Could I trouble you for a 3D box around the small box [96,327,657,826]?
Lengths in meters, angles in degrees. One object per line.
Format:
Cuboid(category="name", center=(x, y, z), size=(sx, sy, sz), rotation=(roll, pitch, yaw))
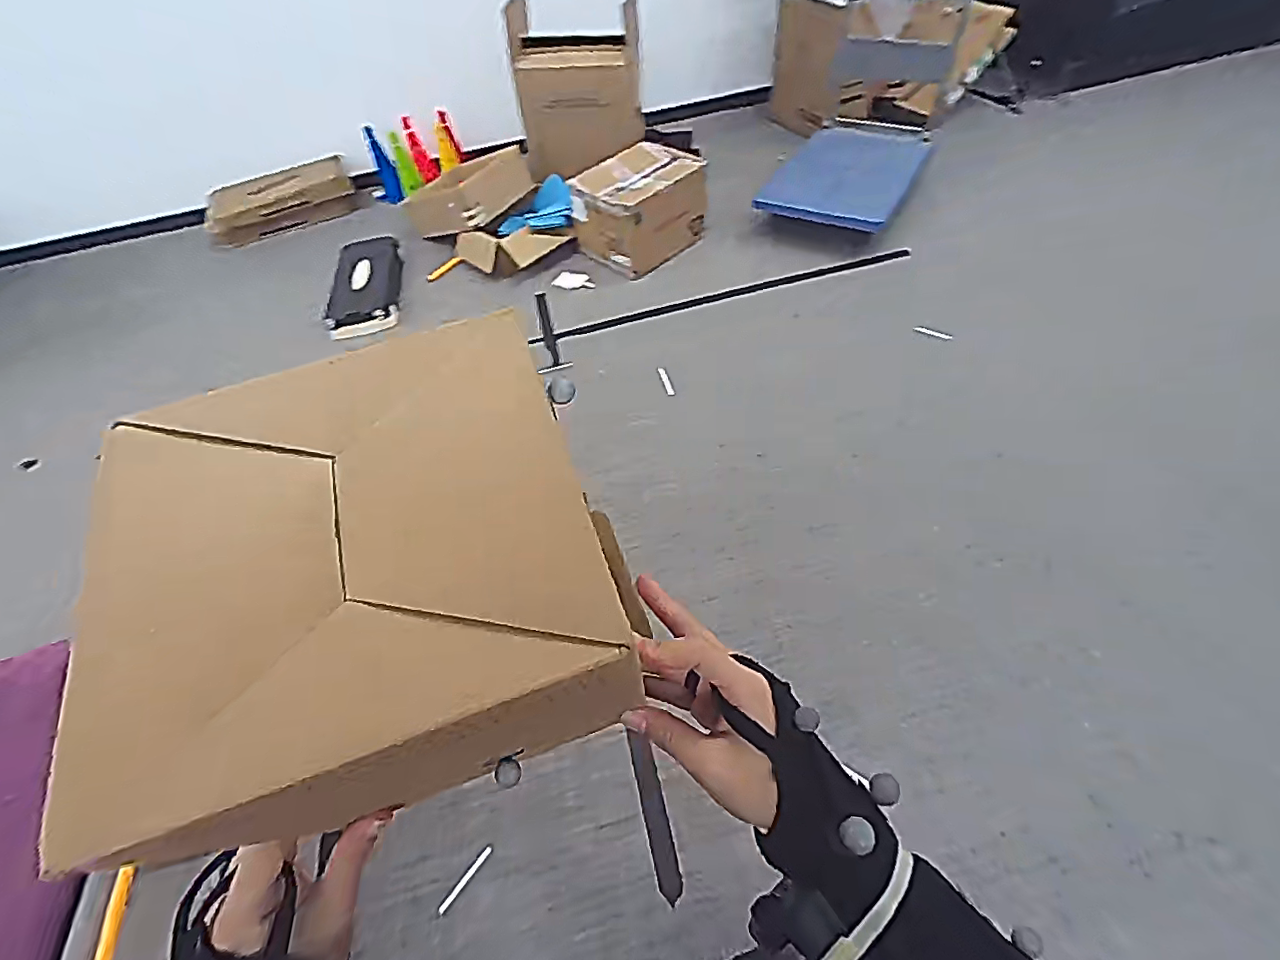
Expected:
Cuboid(category="small box", center=(-0.099, 0.051, 0.270), size=(0.179, 0.176, 0.168), rotation=(-18, 62, -9))
